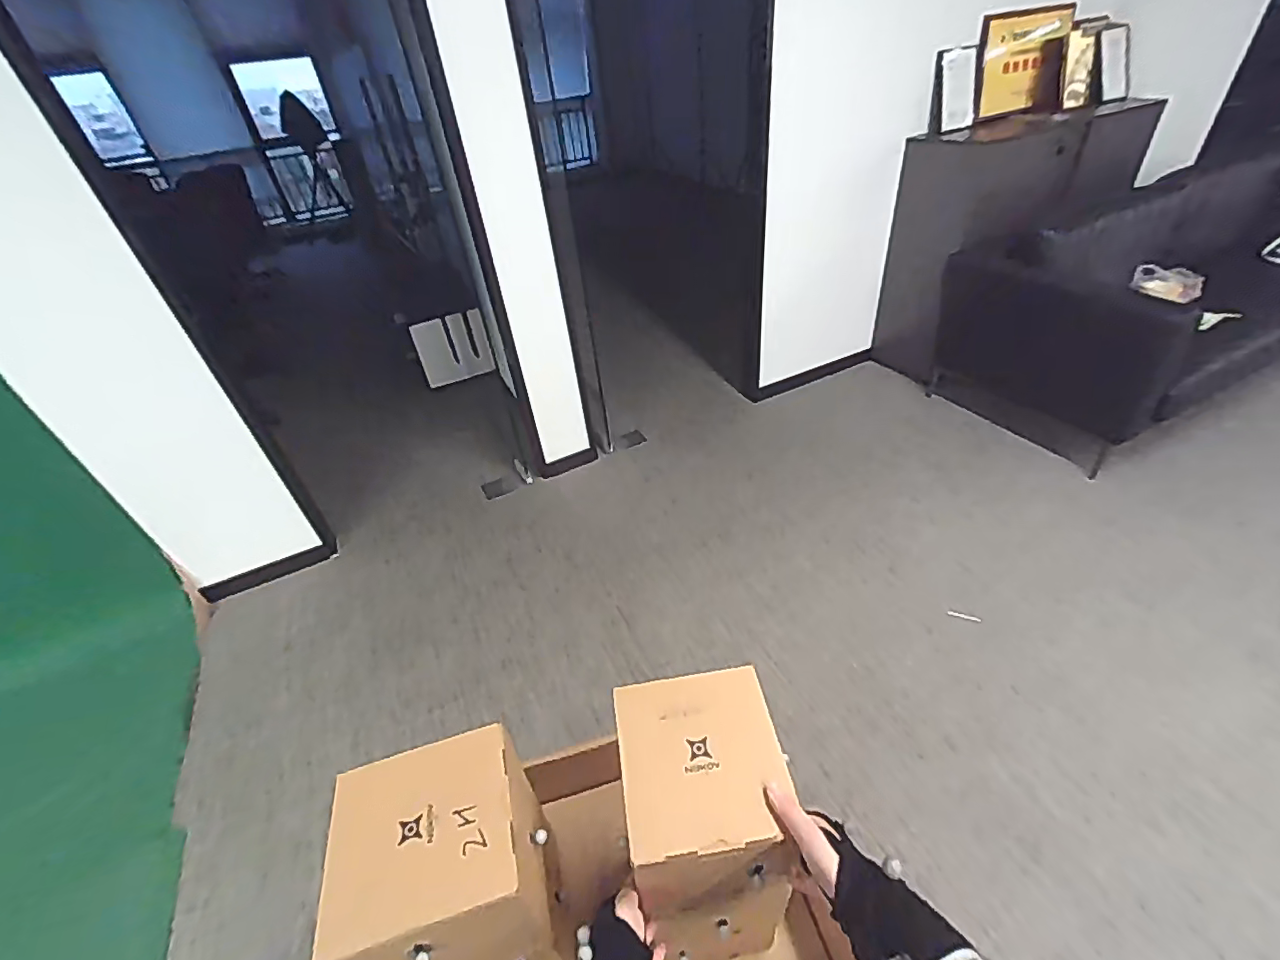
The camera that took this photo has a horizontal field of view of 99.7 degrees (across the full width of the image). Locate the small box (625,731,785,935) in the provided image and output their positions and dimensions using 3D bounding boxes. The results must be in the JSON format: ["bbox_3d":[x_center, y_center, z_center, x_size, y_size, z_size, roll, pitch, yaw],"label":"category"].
[{"bbox_3d":[0.078,0.465,0.708,0.168,0.176,0.179,-9,40,-4],"label":"small box"}]

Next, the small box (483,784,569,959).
[{"bbox_3d":[-0.198,0.524,0.677,0.179,0.176,0.168,-13,39,-11],"label":"small box"}]

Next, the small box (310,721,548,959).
[{"bbox_3d":[-0.208,0.396,0.573,0.179,0.176,0.168,-13,39,-11],"label":"small box"}]
